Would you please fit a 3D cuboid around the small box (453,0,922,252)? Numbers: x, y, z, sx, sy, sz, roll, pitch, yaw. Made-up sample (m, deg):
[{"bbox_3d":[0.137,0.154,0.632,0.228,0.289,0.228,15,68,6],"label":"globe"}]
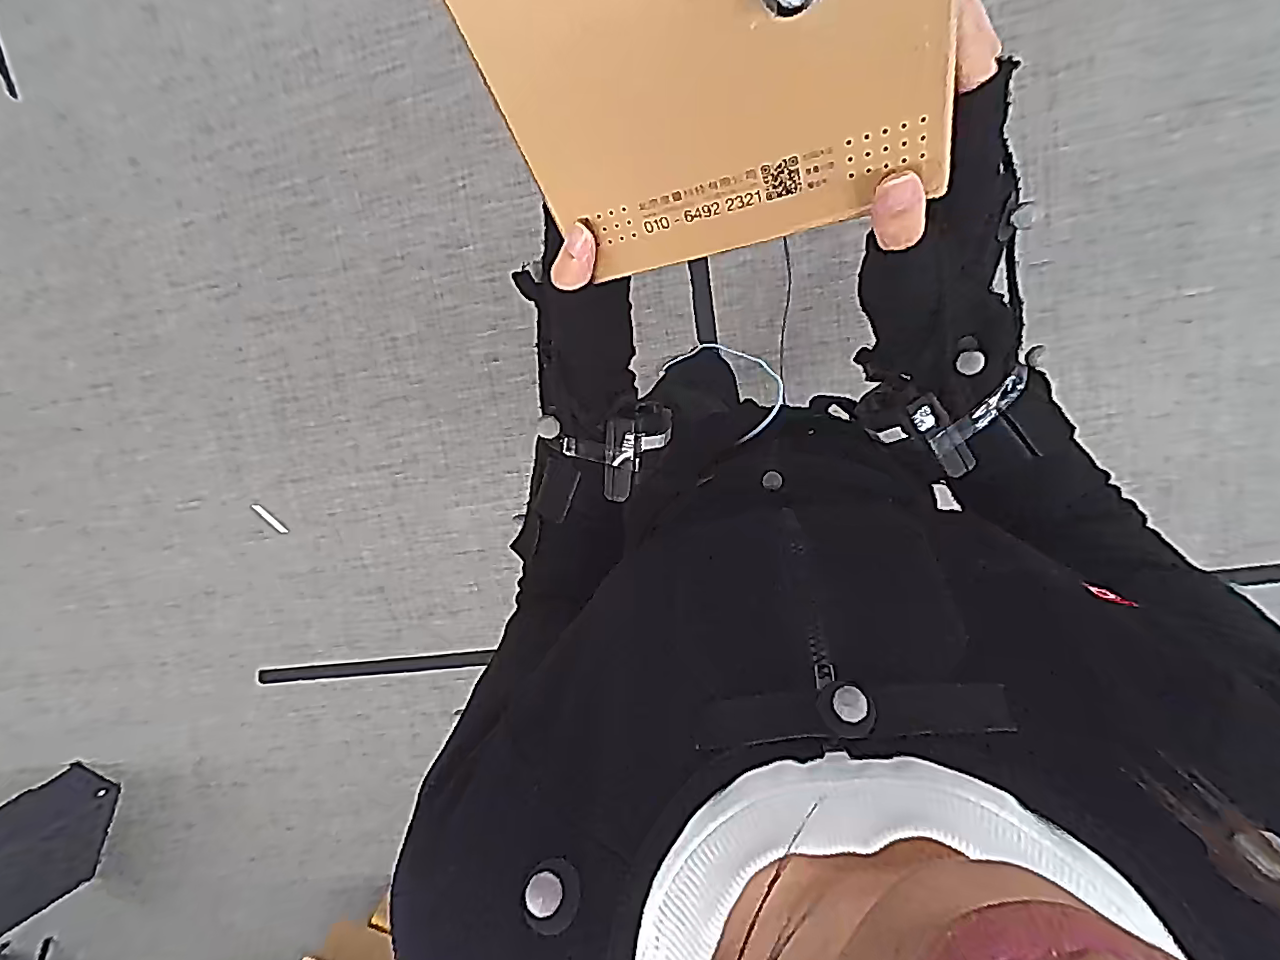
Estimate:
[{"bbox_3d":[0.035,-0.231,0.255,0.168,0.179,0.176,-4,142,24],"label":"small box"}]
